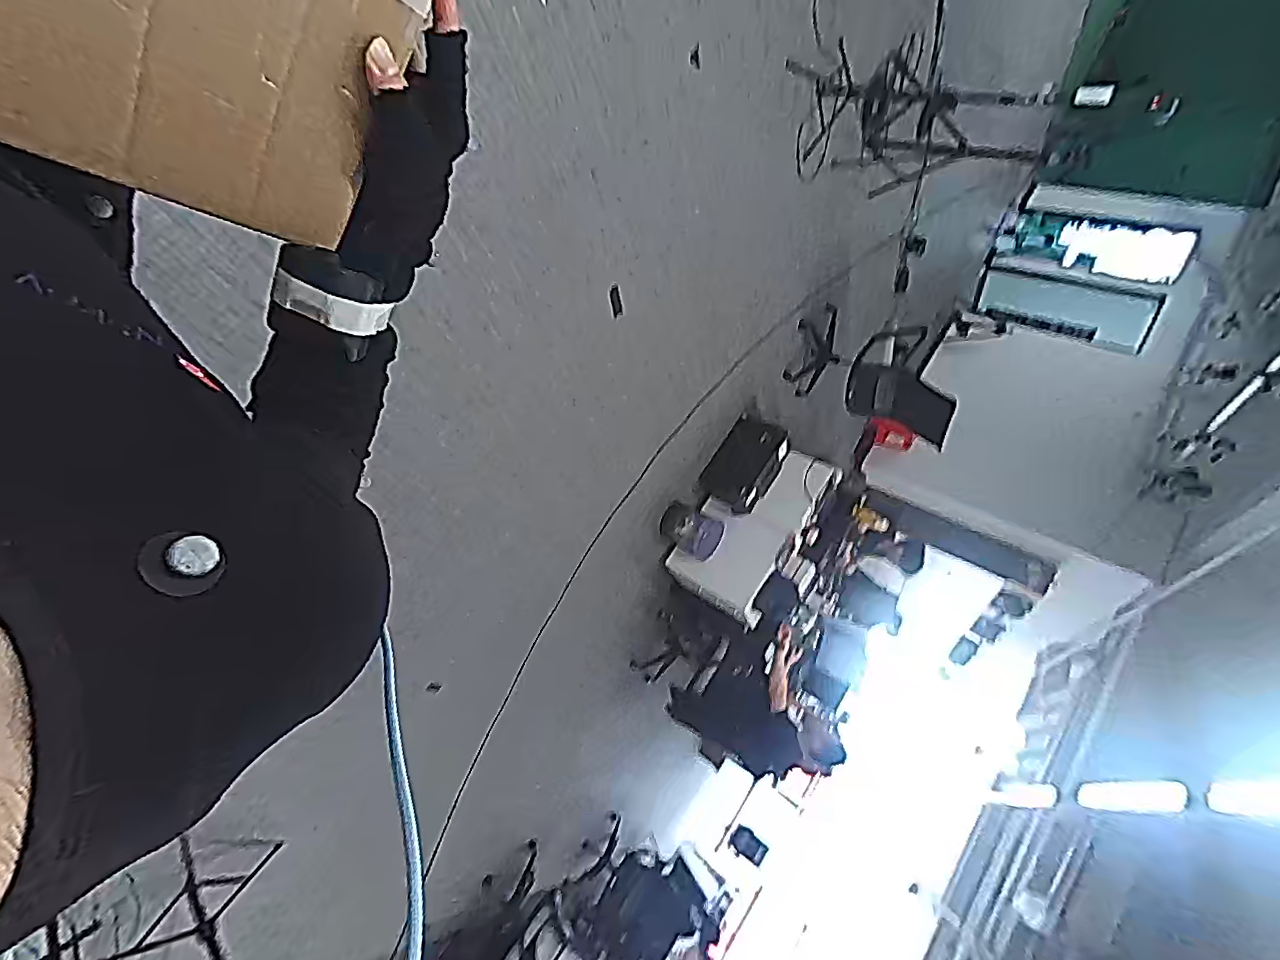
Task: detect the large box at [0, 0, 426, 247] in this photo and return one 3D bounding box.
[{"bbox_3d":[-0.326,-0.373,0.218,0.408,0.320,0.320,4,134,-50],"label":"large box"}]
